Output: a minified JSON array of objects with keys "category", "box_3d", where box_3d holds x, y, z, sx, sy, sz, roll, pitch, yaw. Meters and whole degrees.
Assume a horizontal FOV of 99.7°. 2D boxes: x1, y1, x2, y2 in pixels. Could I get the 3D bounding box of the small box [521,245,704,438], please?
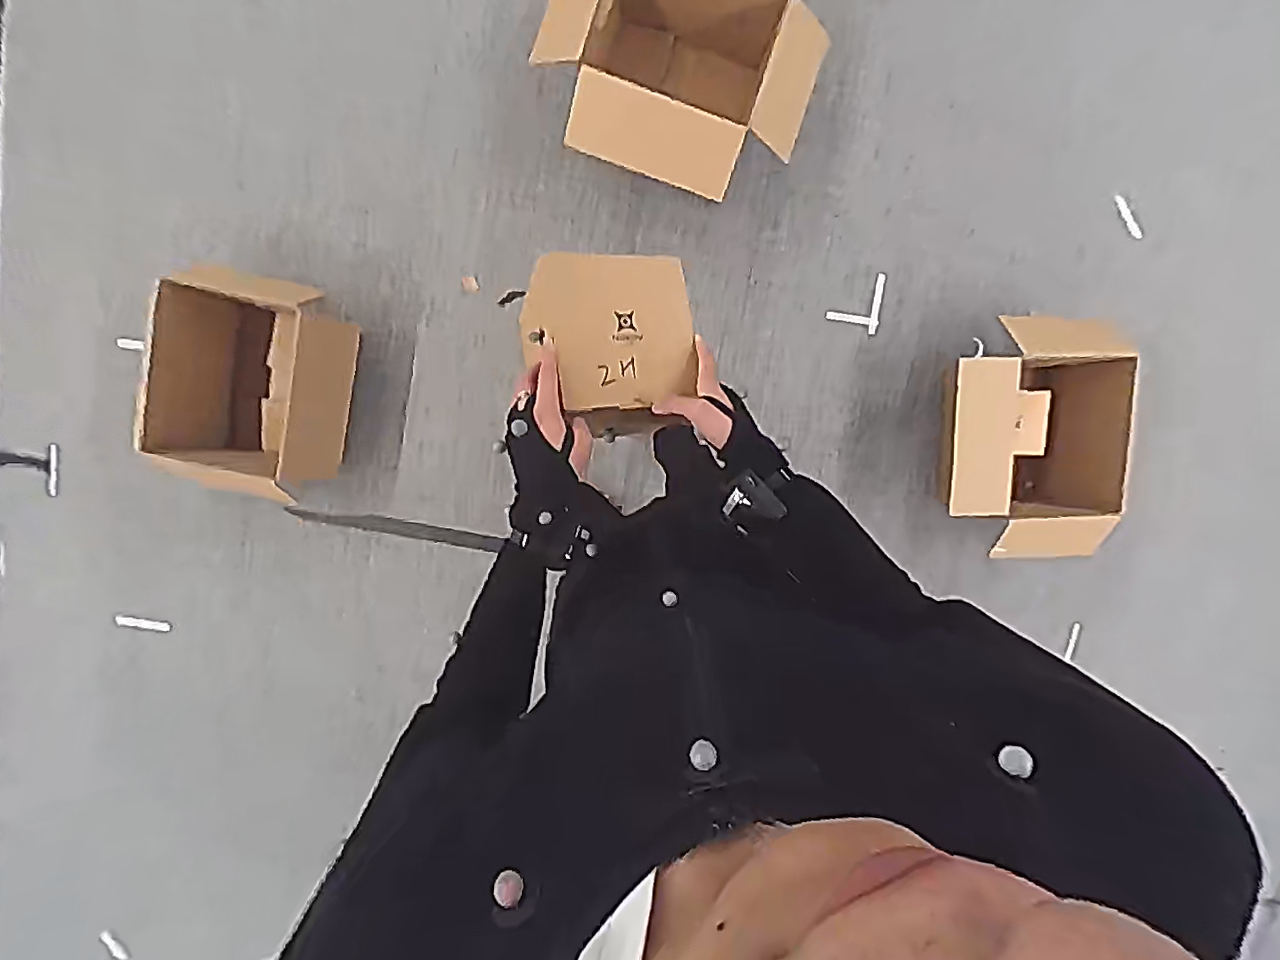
[{"category":"small box","box_3d":[-0.044,-0.158,0.656,0.168,0.176,0.179,-8,85,-20]}]
